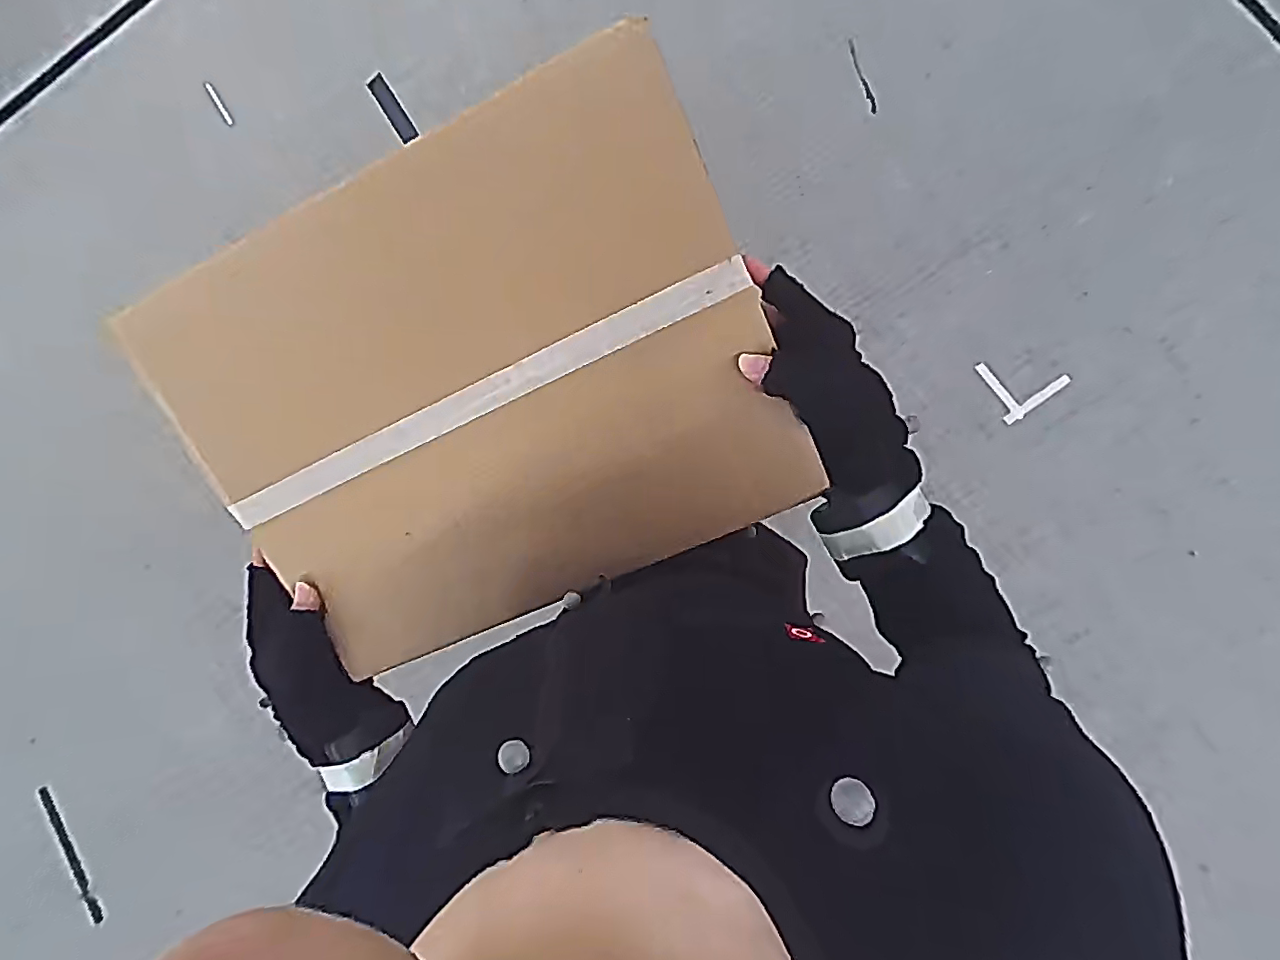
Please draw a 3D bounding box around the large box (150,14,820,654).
[{"bbox_3d":[-0.103,-0.103,0.526,0.408,0.320,0.320,-23,104,9],"label":"large box"}]
